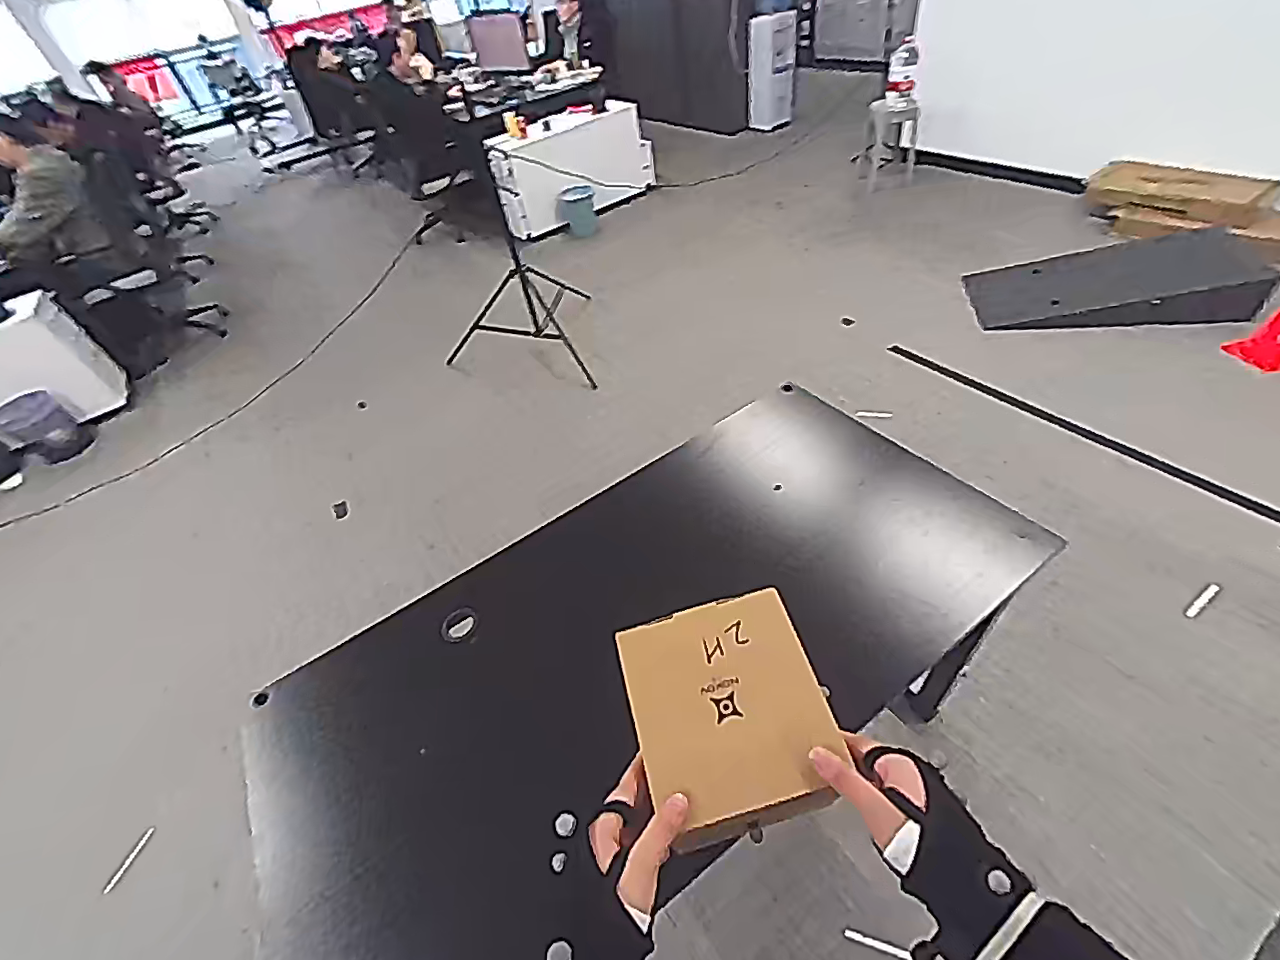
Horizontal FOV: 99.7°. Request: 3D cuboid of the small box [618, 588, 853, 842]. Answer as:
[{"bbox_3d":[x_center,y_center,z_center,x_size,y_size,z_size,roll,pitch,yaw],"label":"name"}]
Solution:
[{"bbox_3d":[0.088,0.240,0.539,0.168,0.176,0.179,-16,50,-2],"label":"small box"}]
